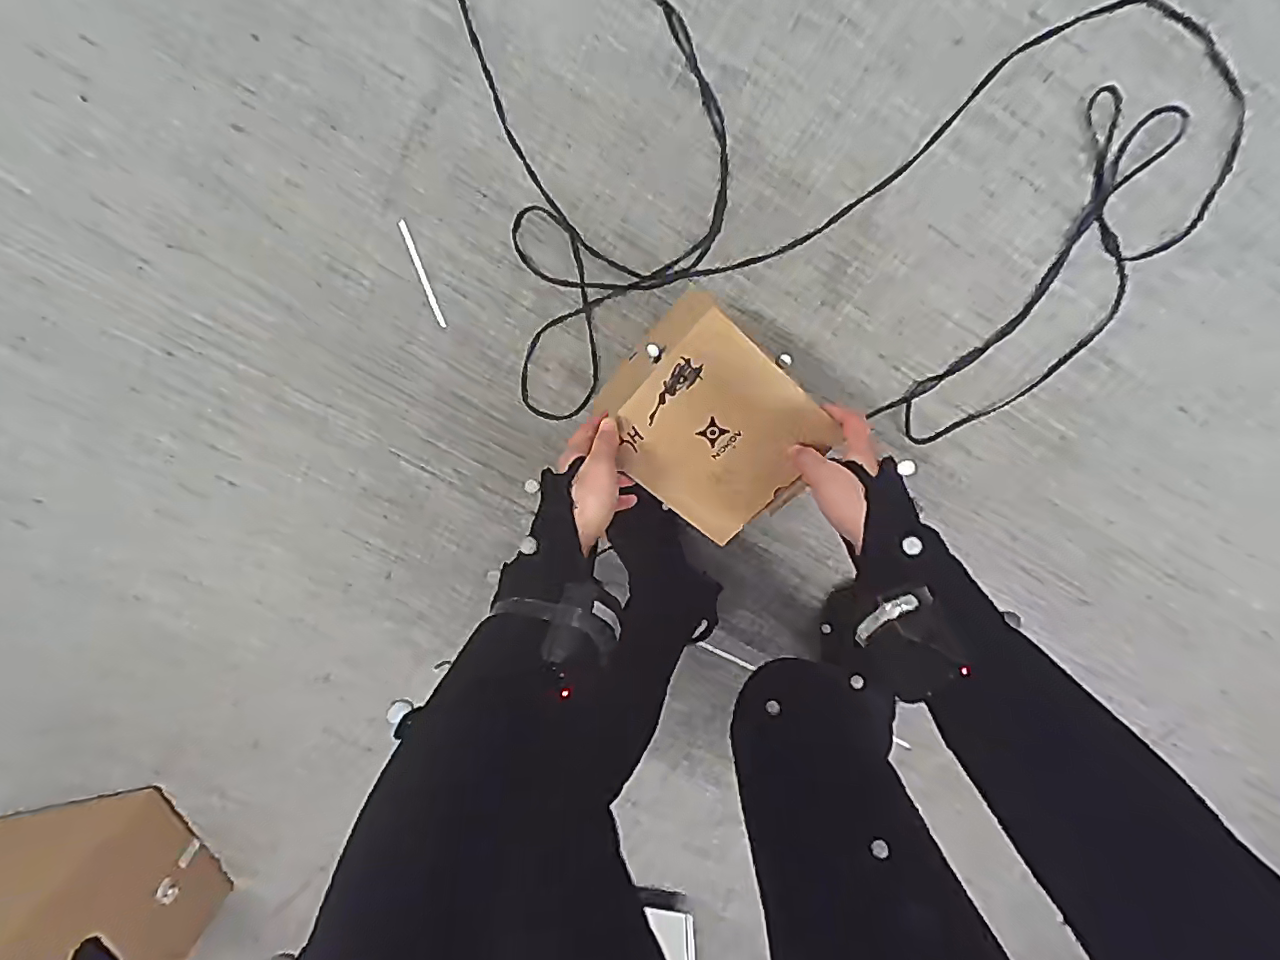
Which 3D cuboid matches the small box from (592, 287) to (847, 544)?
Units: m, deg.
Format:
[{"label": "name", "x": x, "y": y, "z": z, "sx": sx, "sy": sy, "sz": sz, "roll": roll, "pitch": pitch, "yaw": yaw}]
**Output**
[{"label": "small box", "x": 0.073, "y": -0.074, "z": 0.558, "sx": 0.179, "sy": 0.176, "sz": 0.168, "roll": 39, "pitch": 111, "yaw": -19}]
